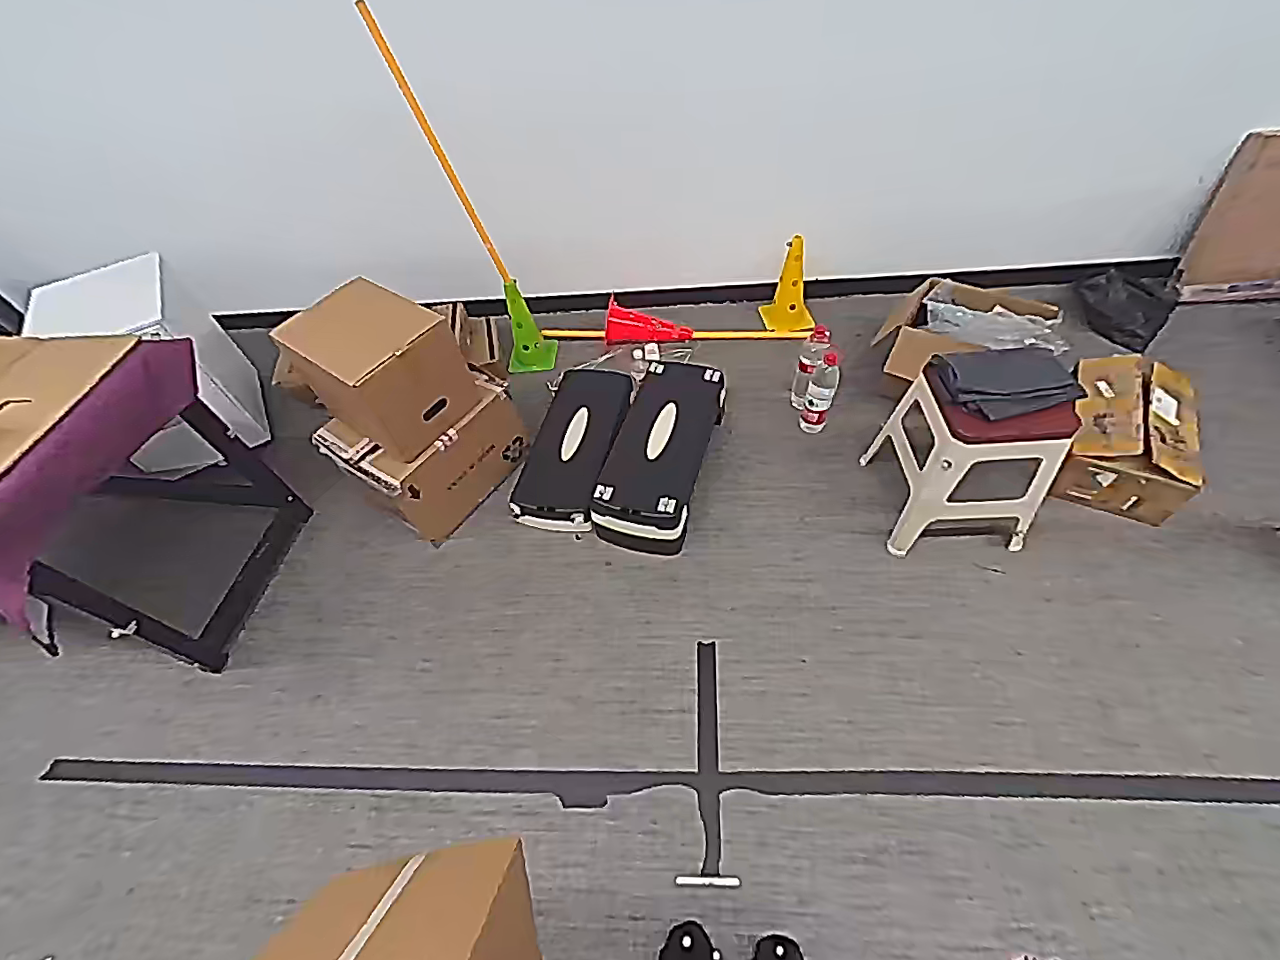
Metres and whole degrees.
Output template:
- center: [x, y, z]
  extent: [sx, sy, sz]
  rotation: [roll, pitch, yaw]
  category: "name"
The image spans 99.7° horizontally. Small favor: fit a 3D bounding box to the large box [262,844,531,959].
- center: [-0.315, 0.737, 0.650]
  extent: [0.320, 0.408, 0.320]
  rotation: [-13, 85, -1]
  category: "large box"
